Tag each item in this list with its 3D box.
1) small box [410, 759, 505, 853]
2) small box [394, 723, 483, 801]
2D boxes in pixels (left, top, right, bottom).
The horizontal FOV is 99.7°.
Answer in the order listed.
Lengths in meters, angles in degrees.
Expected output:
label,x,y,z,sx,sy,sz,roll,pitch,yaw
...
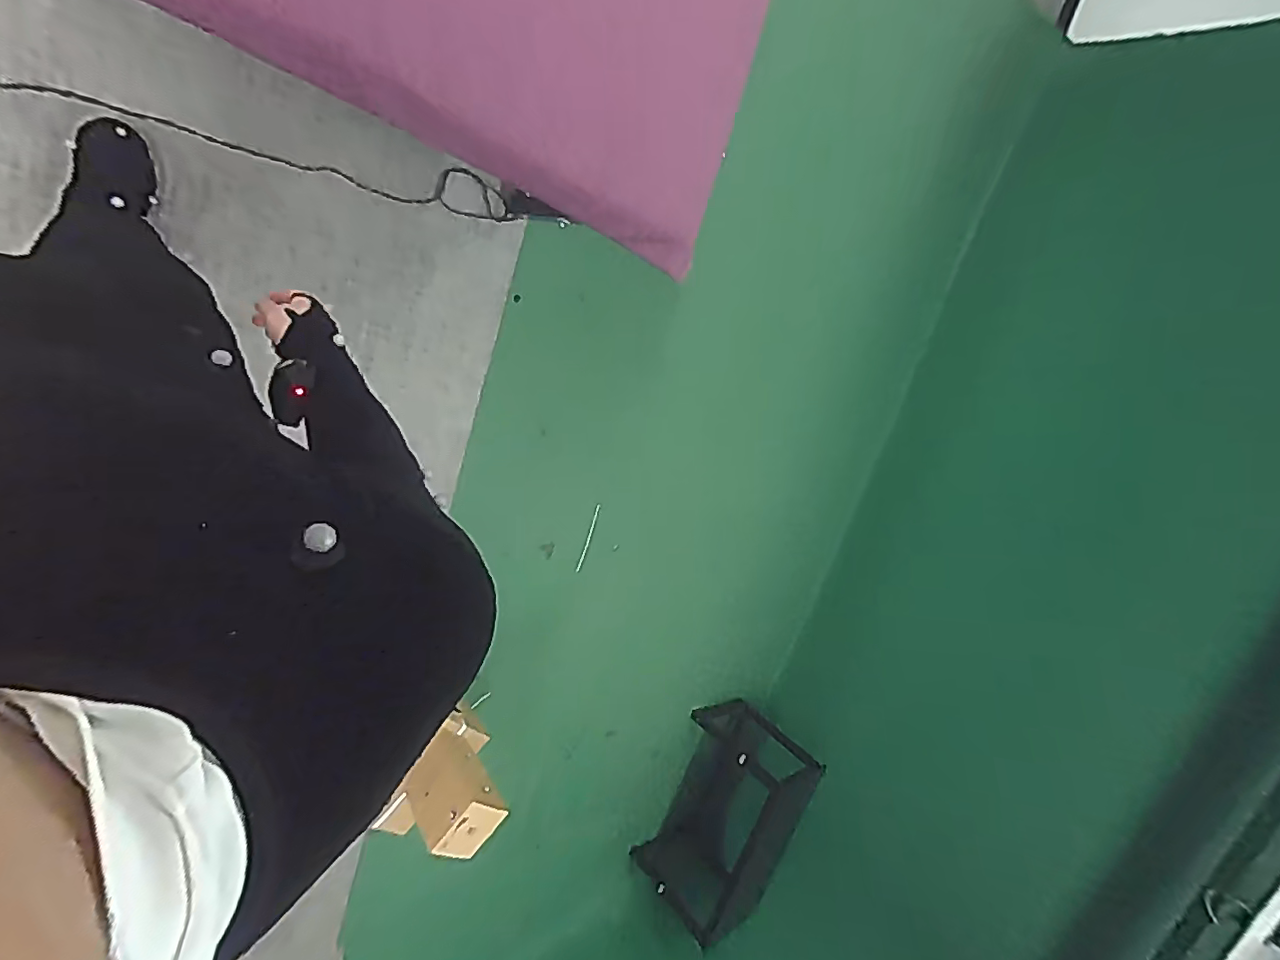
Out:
label,x,y,z,sx,sy,sz,roll,pitch,yaw
small box,-0.544,0.968,1.610,0.168,0.176,0.179,-48,137,-13
small box,-0.645,0.913,1.728,0.168,0.176,0.179,-48,136,-14
